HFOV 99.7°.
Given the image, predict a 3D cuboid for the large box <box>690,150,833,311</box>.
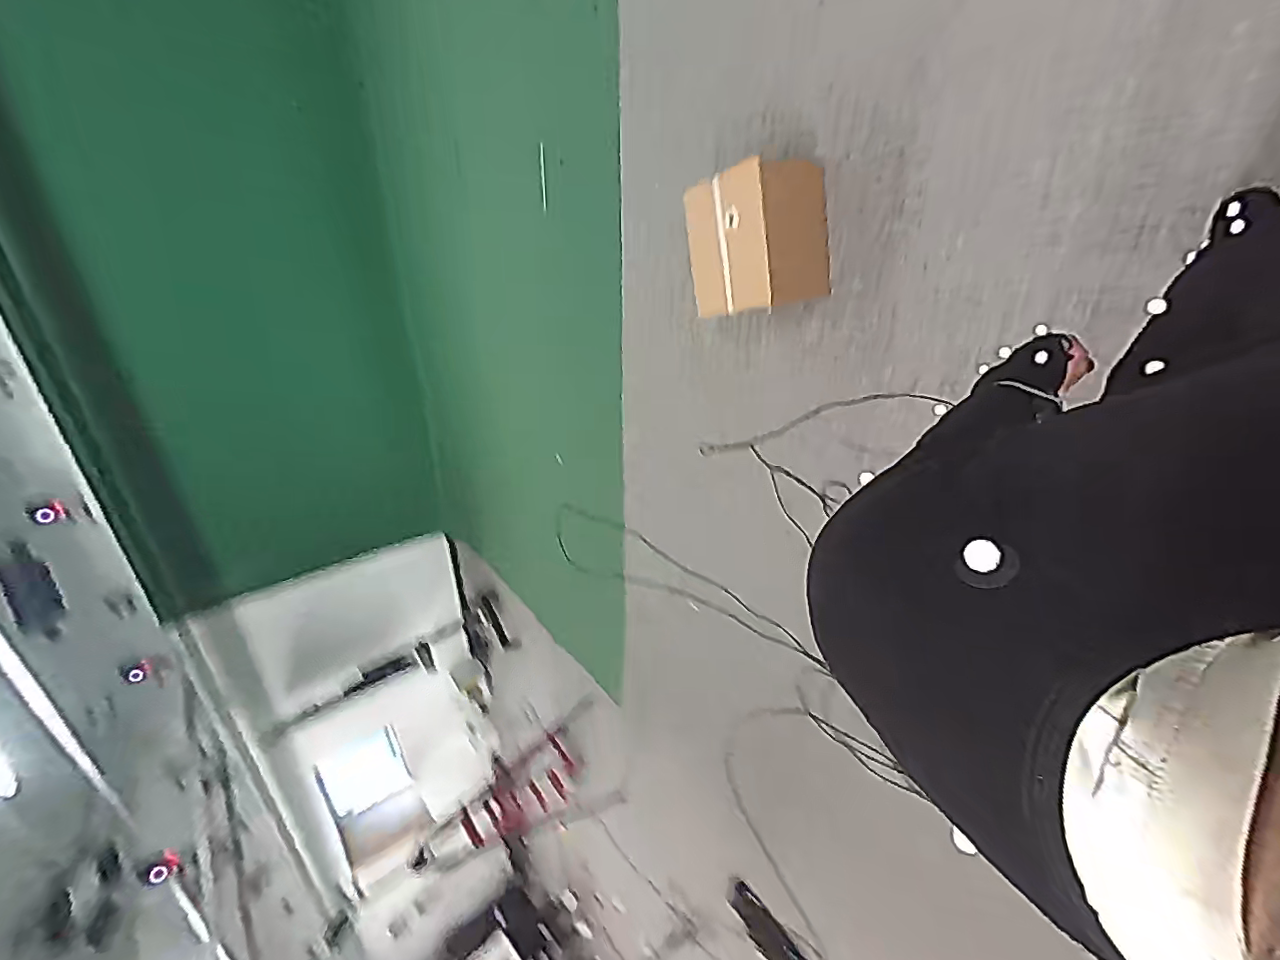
[{"bbox_3d":[0.395,-0.779,1.742,0.320,0.320,0.408,11,113,51],"label":"large box"}]
